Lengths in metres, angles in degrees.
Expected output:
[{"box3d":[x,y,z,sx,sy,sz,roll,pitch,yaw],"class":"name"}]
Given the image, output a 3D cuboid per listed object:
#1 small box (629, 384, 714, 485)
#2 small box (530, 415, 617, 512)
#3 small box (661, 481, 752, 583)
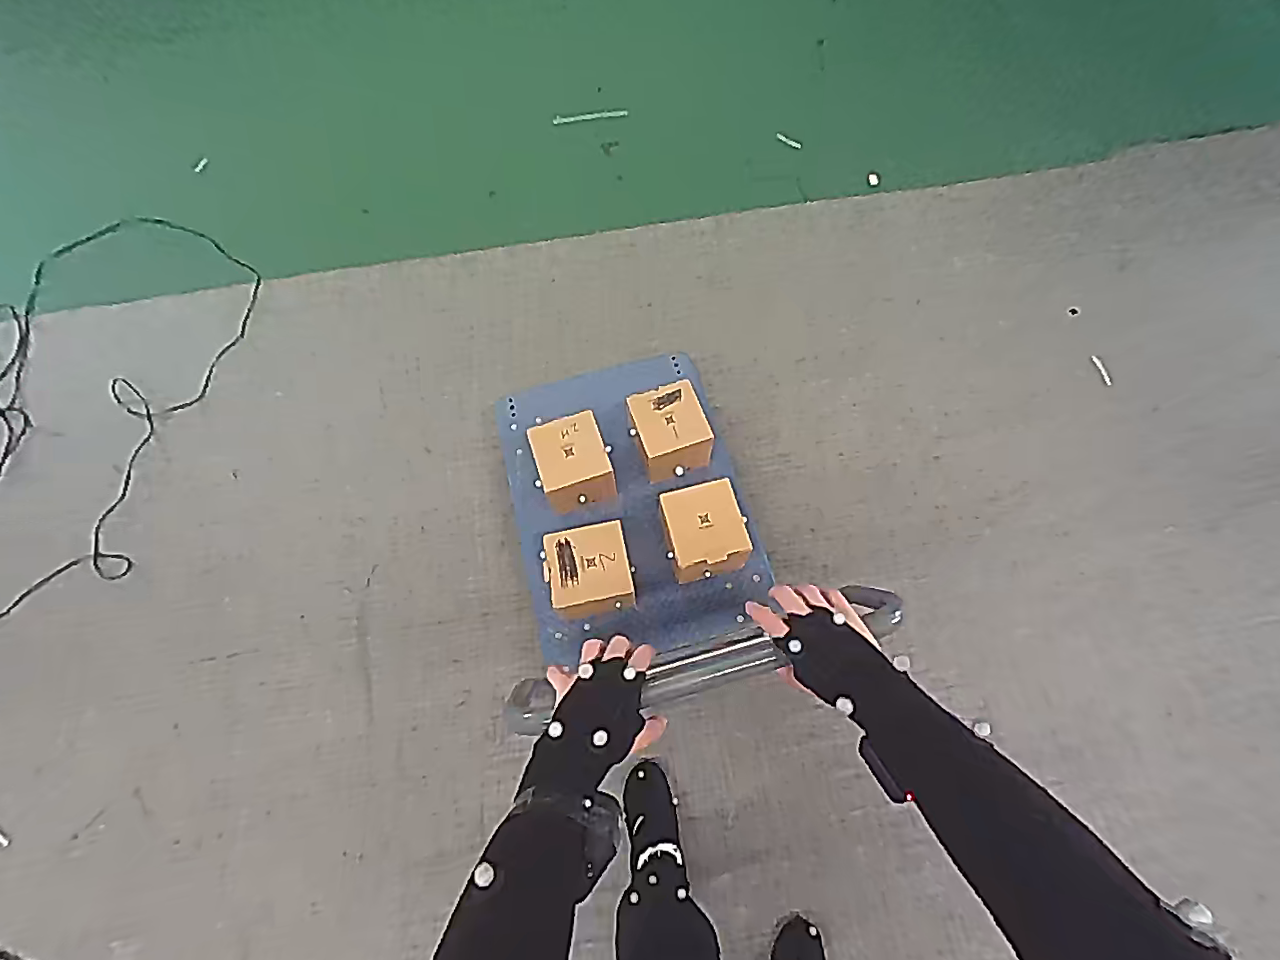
[{"box3d":[0.076,-0.113,1.385,0.168,0.176,0.179,-18,69,-5],"class":"small box"},{"box3d":[-0.161,-0.032,1.360,0.168,0.176,0.179,-18,68,-6],"class":"small box"},{"box3d":[0.149,0.127,1.283,0.168,0.176,0.179,-14,68,-4],"class":"small box"}]
